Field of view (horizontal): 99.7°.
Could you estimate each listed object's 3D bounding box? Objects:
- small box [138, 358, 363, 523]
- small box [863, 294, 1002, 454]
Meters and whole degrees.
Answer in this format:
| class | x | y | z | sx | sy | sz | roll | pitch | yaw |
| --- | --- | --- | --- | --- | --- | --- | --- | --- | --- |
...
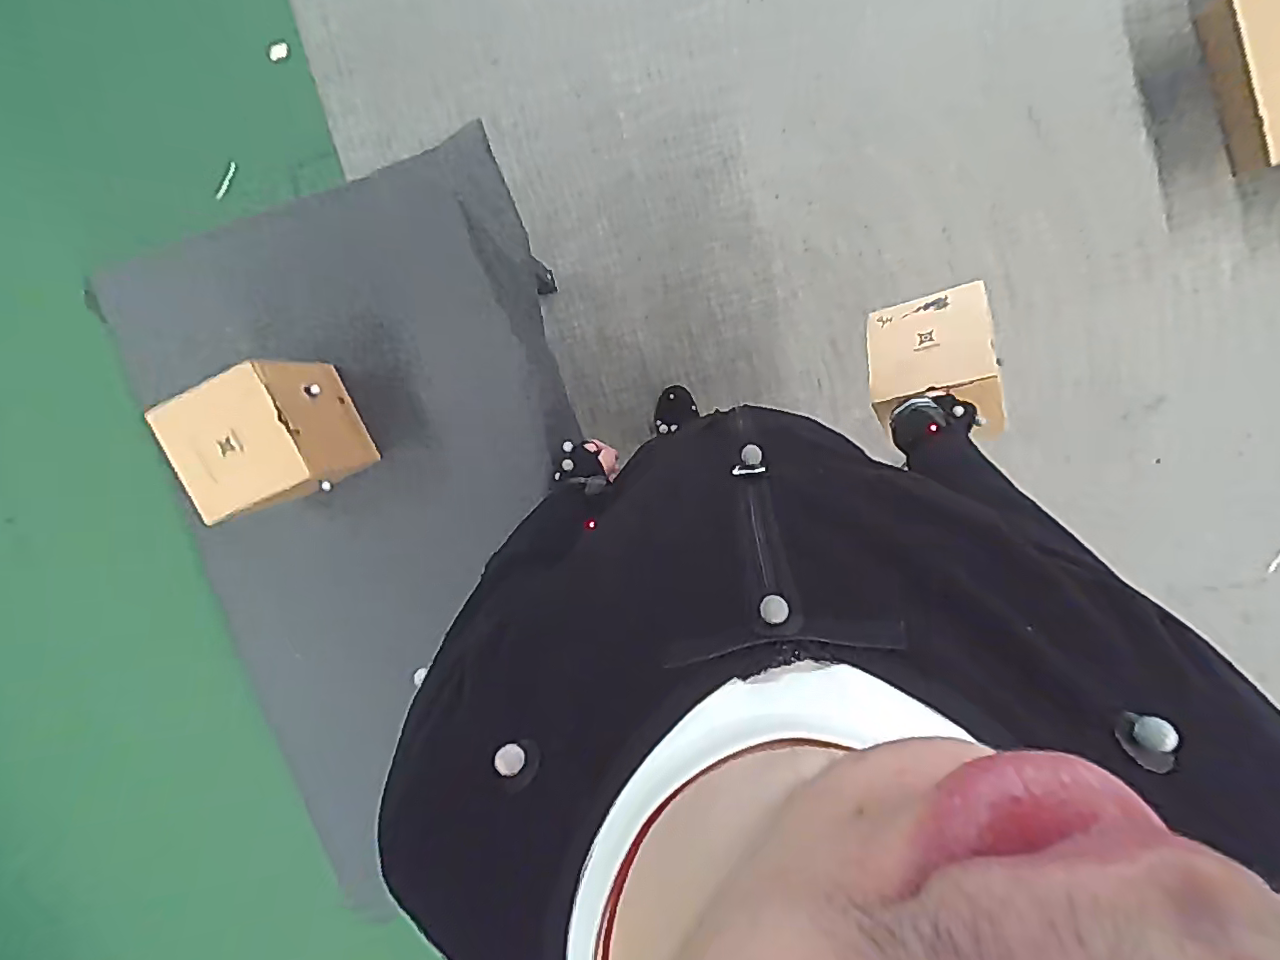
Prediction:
| class | x | y | z | sx | sy | sz | roll | pitch | yaw |
| --- | --- | --- | --- | --- | --- | --- | --- | --- | --- |
| small box | -0.532 | -0.060 | 0.772 | 0.179 | 0.176 | 0.168 | -23 | 95 | 7 |
| small box | 0.463 | -0.153 | 0.859 | 0.168 | 0.176 | 0.179 | -9 | 58 | 33 |
